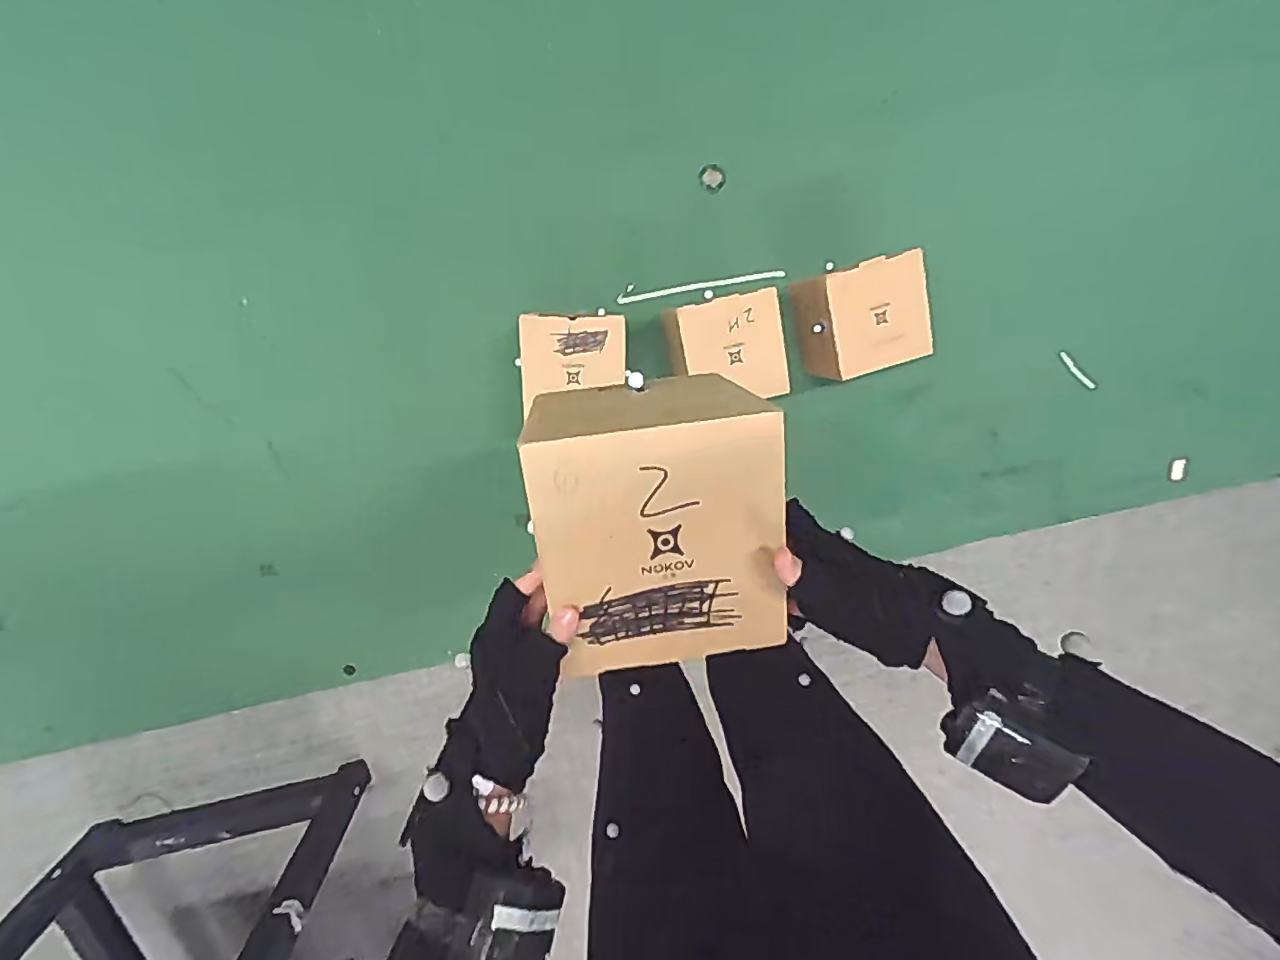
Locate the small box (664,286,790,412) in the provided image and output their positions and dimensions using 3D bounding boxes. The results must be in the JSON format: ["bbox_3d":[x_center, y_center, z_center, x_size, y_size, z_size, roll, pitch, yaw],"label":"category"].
[{"bbox_3d":[0.146,-0.231,0.946,0.168,0.176,0.179,-13,106,-4],"label":"small box"}]

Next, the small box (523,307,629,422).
[{"bbox_3d":[-0.109,-0.198,0.924,0.168,0.176,0.179,-1,106,-6],"label":"small box"}]

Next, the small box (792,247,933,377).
[{"bbox_3d":[0.386,-0.291,0.961,0.168,0.176,0.179,-16,106,-2],"label":"small box"}]
